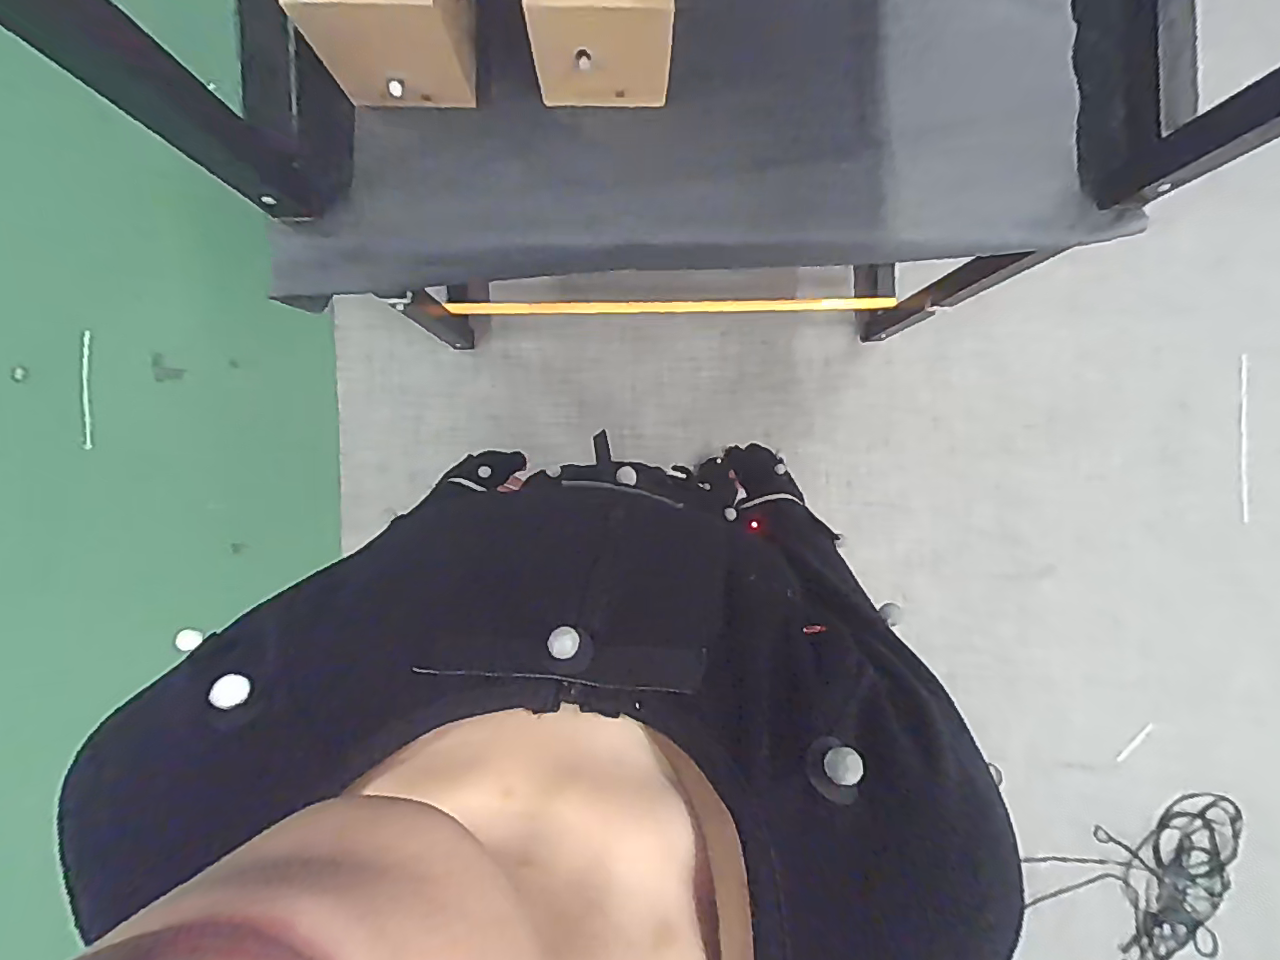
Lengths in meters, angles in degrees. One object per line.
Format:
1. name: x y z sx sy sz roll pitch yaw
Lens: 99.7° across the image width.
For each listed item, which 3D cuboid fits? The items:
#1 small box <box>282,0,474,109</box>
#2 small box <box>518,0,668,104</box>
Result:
1. small box: -0.304 -0.590 0.649 0.168 0.176 0.179 0 92 -2
2. small box: -0.052 -0.596 0.660 0.168 0.176 0.179 -1 91 -2
